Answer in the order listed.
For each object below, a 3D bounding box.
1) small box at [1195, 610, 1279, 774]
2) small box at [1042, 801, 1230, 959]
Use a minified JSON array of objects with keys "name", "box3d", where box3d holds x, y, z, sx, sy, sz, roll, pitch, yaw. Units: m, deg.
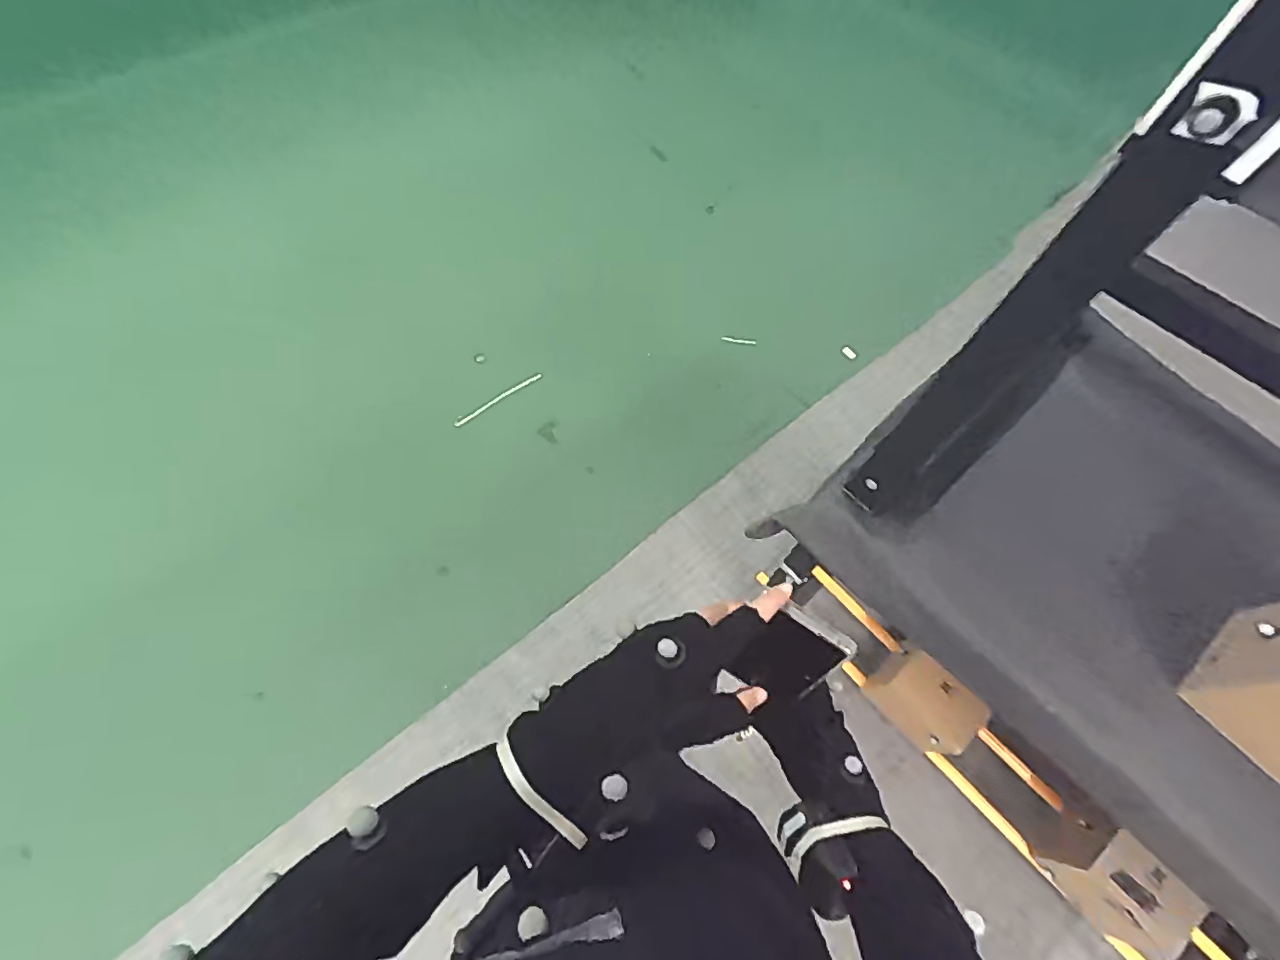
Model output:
[{"name":"small box","box3d":[0.775,0.237,0.575,0.168,0.176,0.179,-34,69,-17]},{"name":"small box","box3d":[0.915,0.742,1.020,0.179,0.176,0.168,-34,69,-17]}]
